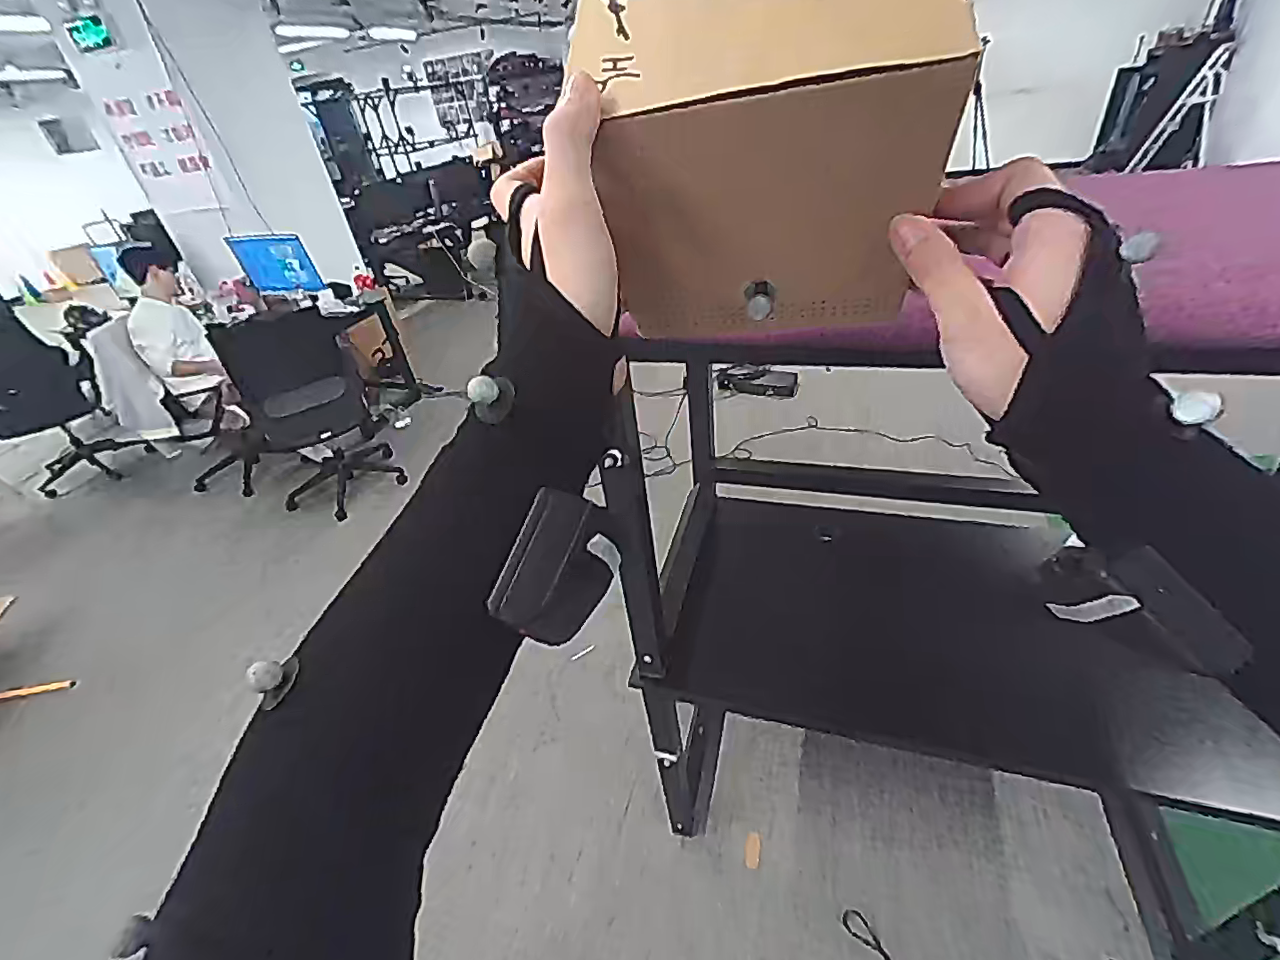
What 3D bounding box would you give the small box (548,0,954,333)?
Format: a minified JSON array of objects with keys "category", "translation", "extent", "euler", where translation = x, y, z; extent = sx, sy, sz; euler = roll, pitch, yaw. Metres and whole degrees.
[{"category":"small box","translation":[0.066,-0.208,0.332],"extent":[0.179,0.176,0.168],"euler":[1,69,14]}]
